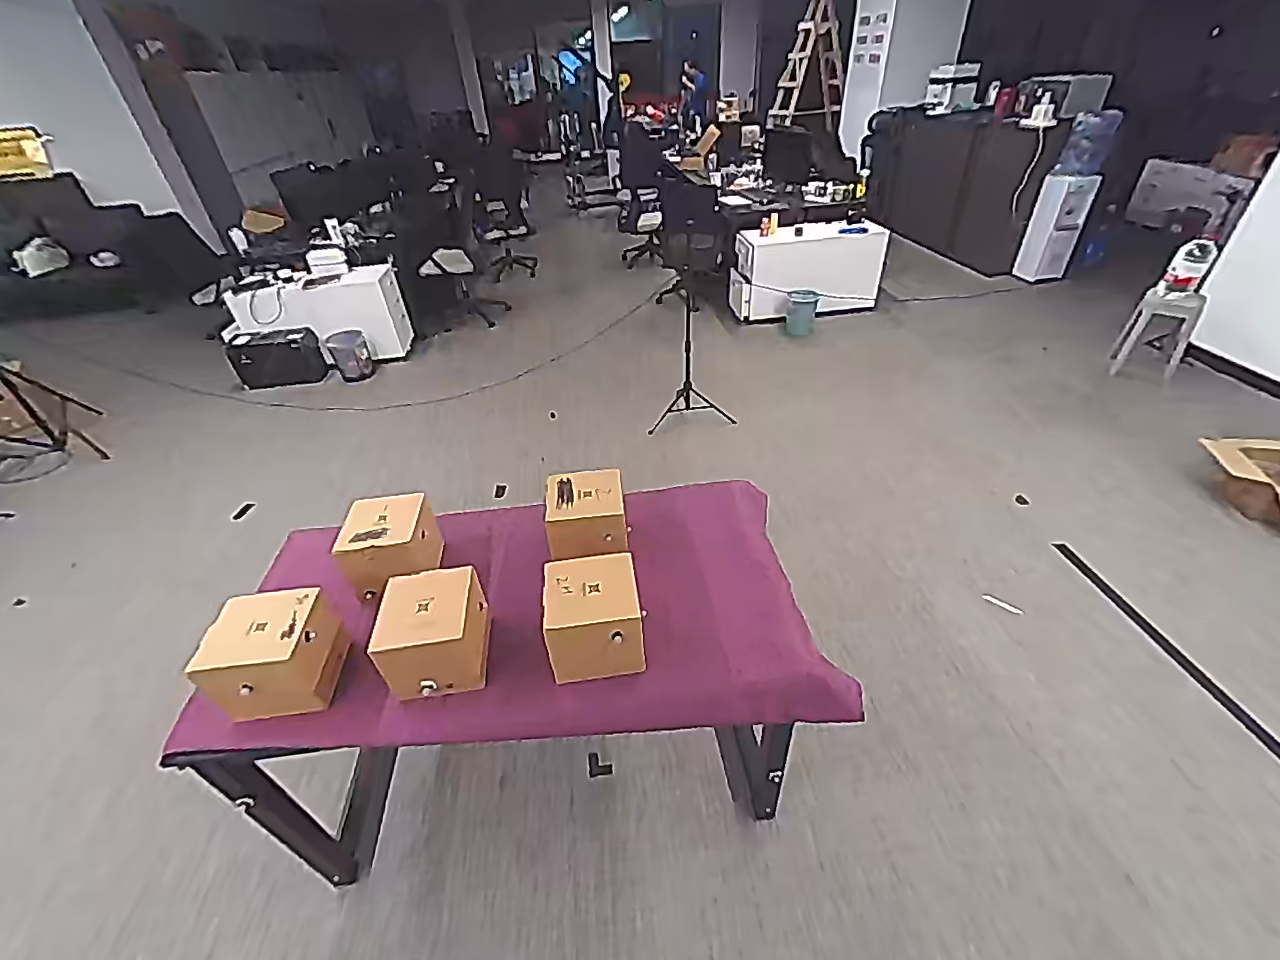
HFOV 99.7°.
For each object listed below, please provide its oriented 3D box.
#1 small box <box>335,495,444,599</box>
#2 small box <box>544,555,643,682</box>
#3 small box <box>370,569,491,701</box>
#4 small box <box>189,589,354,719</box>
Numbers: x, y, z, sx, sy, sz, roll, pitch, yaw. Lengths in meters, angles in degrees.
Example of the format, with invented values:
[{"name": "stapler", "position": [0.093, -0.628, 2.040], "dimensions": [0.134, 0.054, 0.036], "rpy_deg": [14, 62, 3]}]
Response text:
[{"name": "small box", "position": [-0.568, 0.160, 1.256], "dimensions": [0.168, 0.176, 0.179], "rpy_deg": [-7, 37, -4]}, {"name": "small box", "position": [-0.088, 0.271, 1.062], "dimensions": [0.179, 0.176, 0.168], "rpy_deg": [-7, 37, -3]}, {"name": "small box", "position": [-0.395, 0.301, 1.058], "dimensions": [0.168, 0.176, 0.179], "rpy_deg": [-8, 39, -4]}, {"name": "small box", "position": [-0.688, 0.335, 1.037], "dimensions": [0.179, 0.176, 0.168], "rpy_deg": [-7, 38, -3]}]
